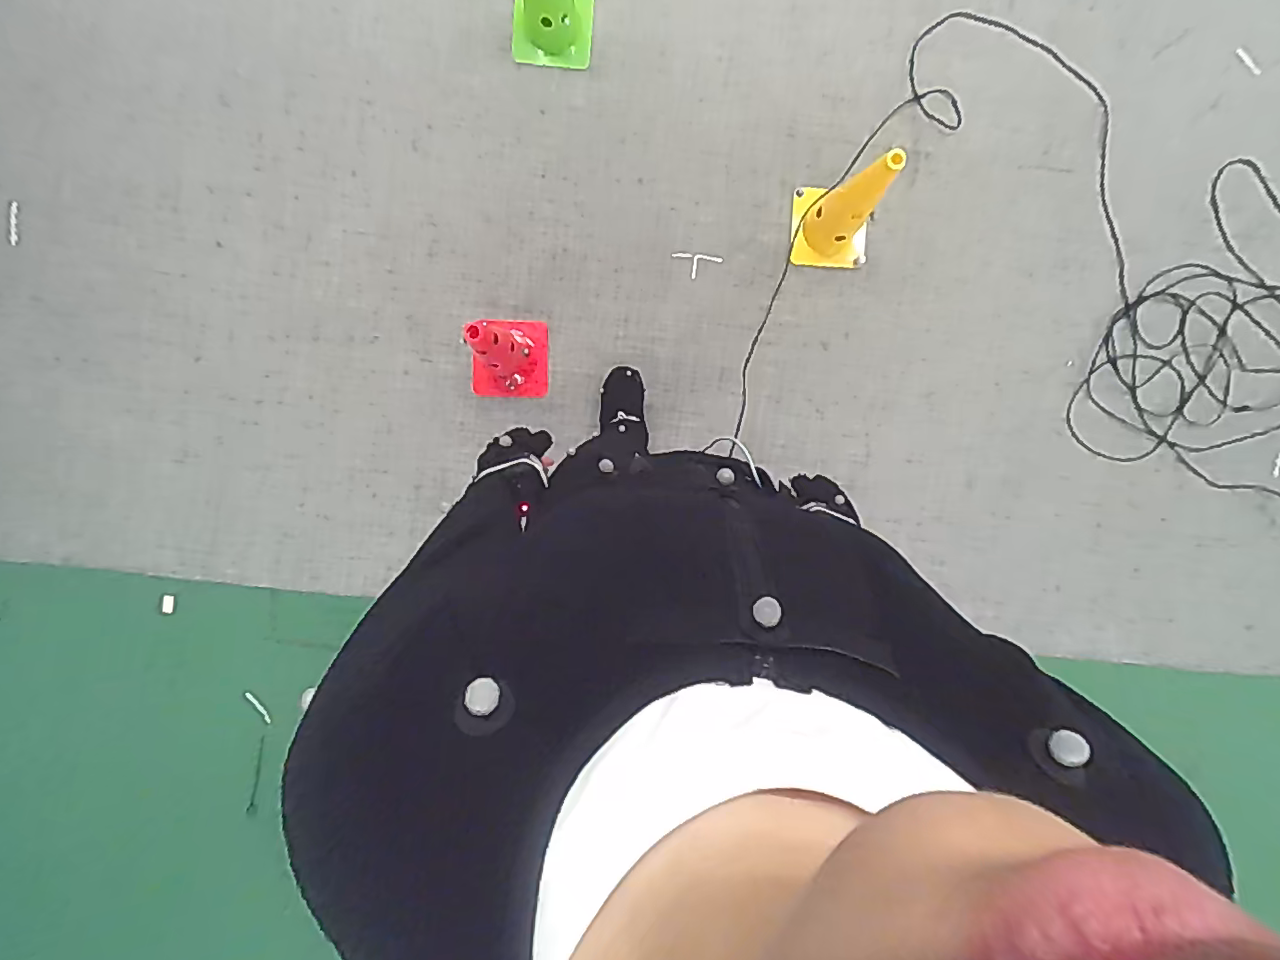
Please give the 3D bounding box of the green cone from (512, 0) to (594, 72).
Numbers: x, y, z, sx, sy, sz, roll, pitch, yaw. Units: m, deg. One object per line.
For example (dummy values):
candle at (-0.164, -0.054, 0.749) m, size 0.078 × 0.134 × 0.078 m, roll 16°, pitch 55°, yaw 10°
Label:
green cone at (-0.213, -1.139, 1.207) m, size 0.202 × 0.368 × 0.200 m, roll 4°, pitch 94°, yaw -3°

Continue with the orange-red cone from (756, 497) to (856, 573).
orange-red cone at (0.429, 0.161, 1.314) m, size 0.198 × 0.360 × 0.199 m, roll 6°, pitch 93°, yaw -3°

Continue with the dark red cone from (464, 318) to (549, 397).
dark red cone at (-0.331, -0.301, 1.237) m, size 0.202 × 0.394 × 0.201 m, roll 0°, pitch 95°, yaw -2°
